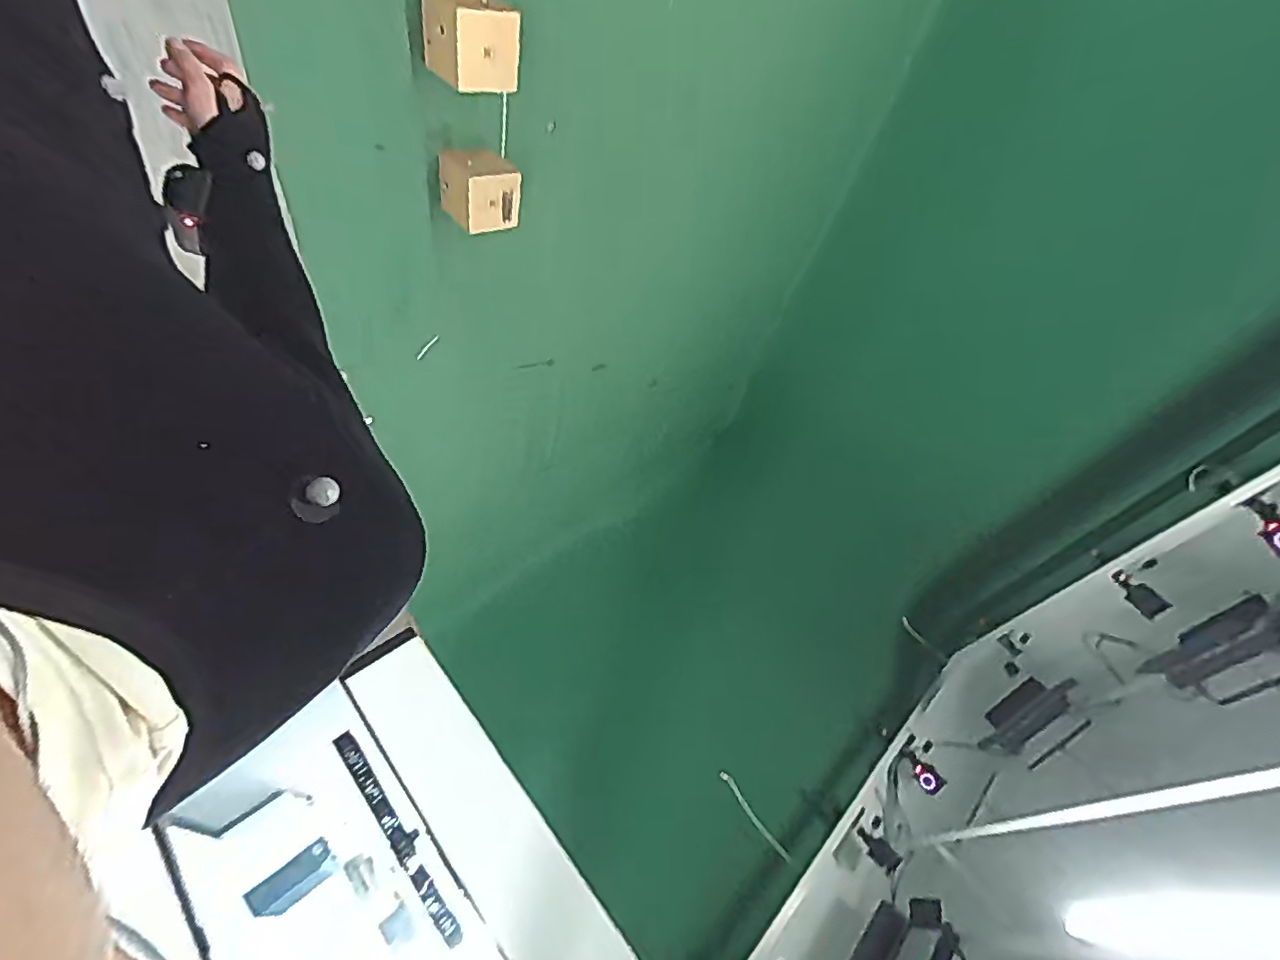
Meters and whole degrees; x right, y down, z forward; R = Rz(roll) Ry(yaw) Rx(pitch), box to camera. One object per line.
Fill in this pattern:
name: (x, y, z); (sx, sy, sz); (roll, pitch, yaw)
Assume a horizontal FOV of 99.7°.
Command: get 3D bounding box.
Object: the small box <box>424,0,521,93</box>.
small box: (-0.422, -1.096, 1.352); (0.179, 0.176, 0.168); (-31, 154, -34)
